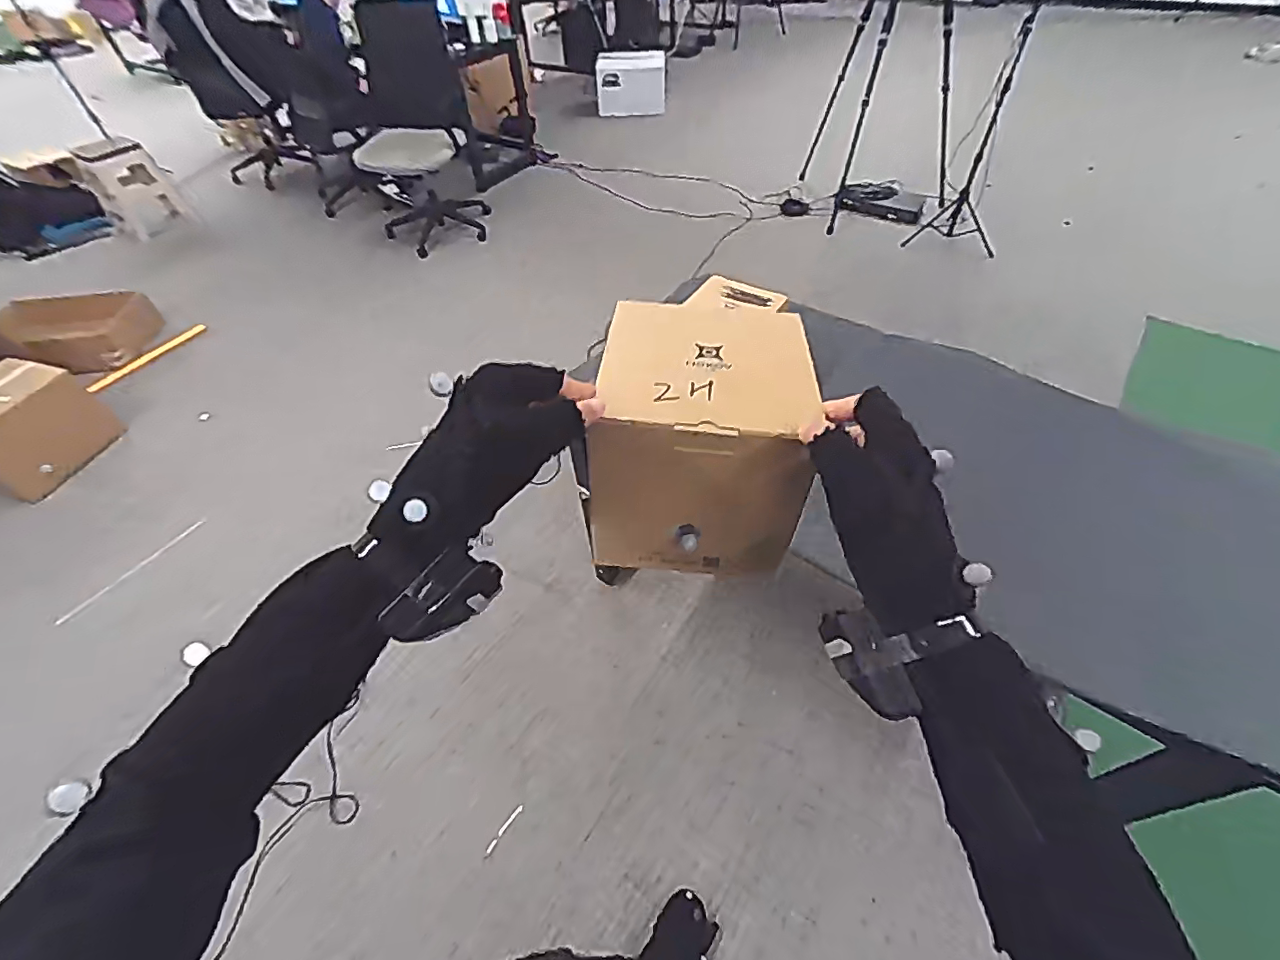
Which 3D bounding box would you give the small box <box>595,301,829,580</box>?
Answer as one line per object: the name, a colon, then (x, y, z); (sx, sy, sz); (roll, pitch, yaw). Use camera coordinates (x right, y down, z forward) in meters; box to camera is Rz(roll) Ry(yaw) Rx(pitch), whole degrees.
small box: (0.054, -0.036, 0.485); (0.168, 0.176, 0.179); (6, 45, 3)
